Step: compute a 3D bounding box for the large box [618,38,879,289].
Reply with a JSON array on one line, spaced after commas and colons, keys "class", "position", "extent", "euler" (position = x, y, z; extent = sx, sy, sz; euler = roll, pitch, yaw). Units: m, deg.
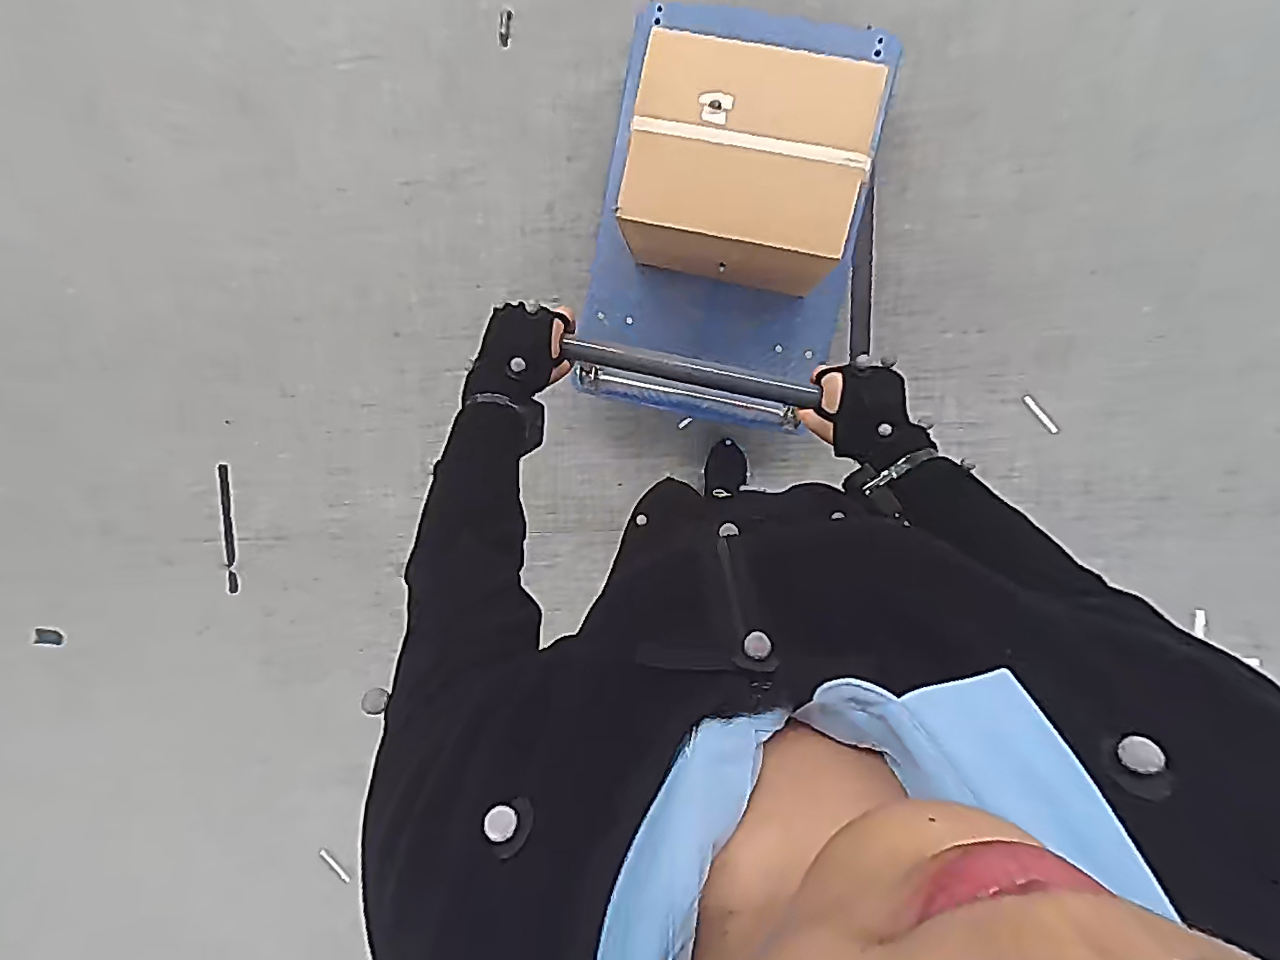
[{"class": "large box", "position": [0.200, -0.599, 1.086], "extent": [0.408, 0.320, 0.320], "euler": [13, 97, 5]}]
